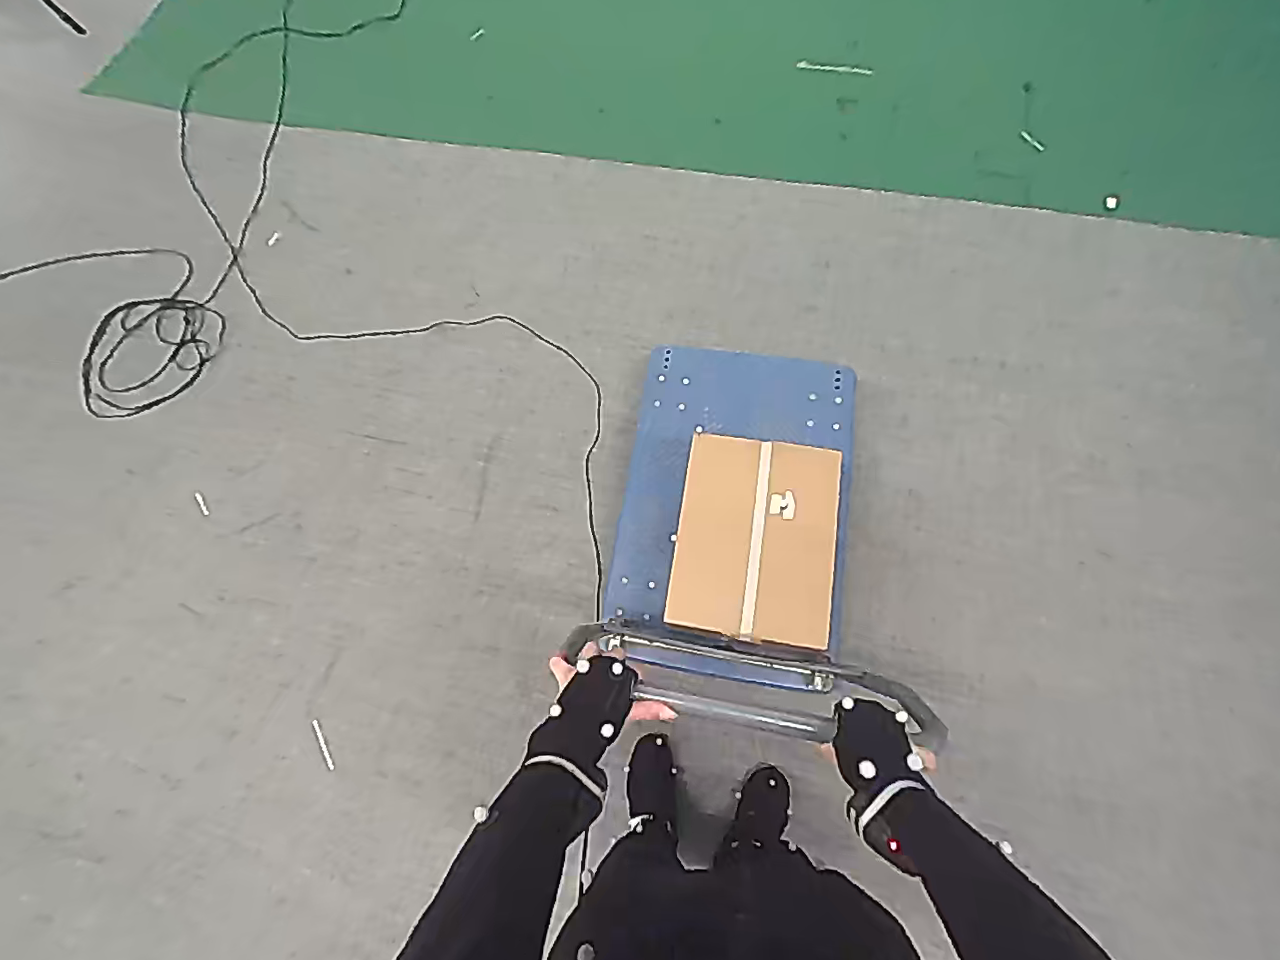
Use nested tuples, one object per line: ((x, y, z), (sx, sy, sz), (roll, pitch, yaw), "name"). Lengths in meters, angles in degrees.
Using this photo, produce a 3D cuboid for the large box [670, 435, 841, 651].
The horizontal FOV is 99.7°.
((0.249, 0.156, 1.218), (0.320, 0.320, 0.408), (8, 72, 6), "large box")
